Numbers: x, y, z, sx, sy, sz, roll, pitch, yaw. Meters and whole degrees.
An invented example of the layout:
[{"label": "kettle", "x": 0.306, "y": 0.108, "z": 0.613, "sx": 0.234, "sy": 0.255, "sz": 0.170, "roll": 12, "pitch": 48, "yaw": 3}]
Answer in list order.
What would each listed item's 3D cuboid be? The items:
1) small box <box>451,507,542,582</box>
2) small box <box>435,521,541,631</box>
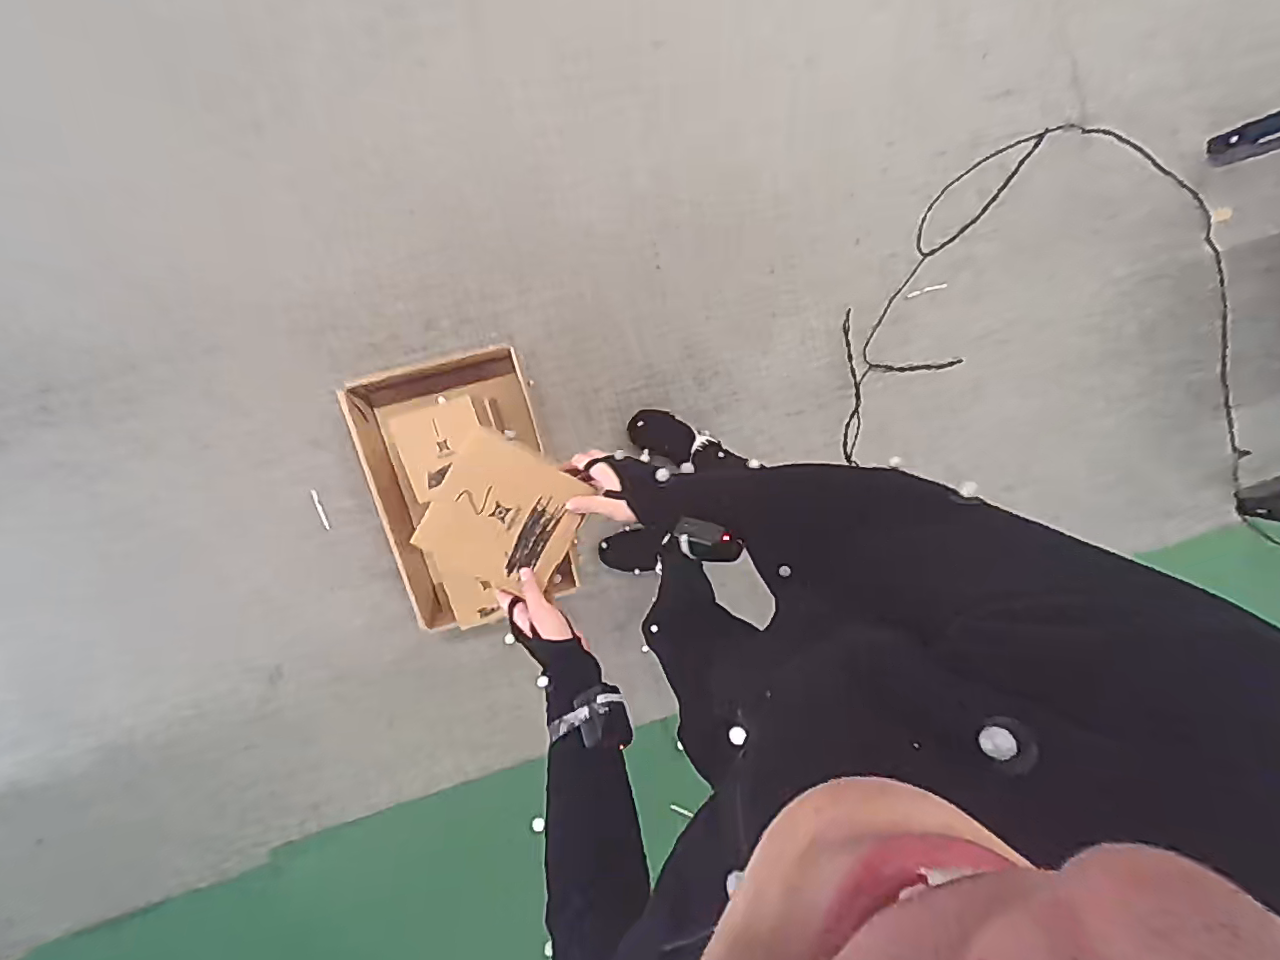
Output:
[{"label": "small box", "x": -0.344, "y": 0.175, "z": 1.333, "sx": 0.179, "sy": 0.176, "sz": 0.168, "roll": -15, "pitch": 99, "yaw": -4}, {"label": "small box", "x": -0.321, "y": 0.195, "z": 1.172, "sx": 0.168, "sy": 0.176, "sz": 0.179, "roll": -16, "pitch": 99, "yaw": -4}]
